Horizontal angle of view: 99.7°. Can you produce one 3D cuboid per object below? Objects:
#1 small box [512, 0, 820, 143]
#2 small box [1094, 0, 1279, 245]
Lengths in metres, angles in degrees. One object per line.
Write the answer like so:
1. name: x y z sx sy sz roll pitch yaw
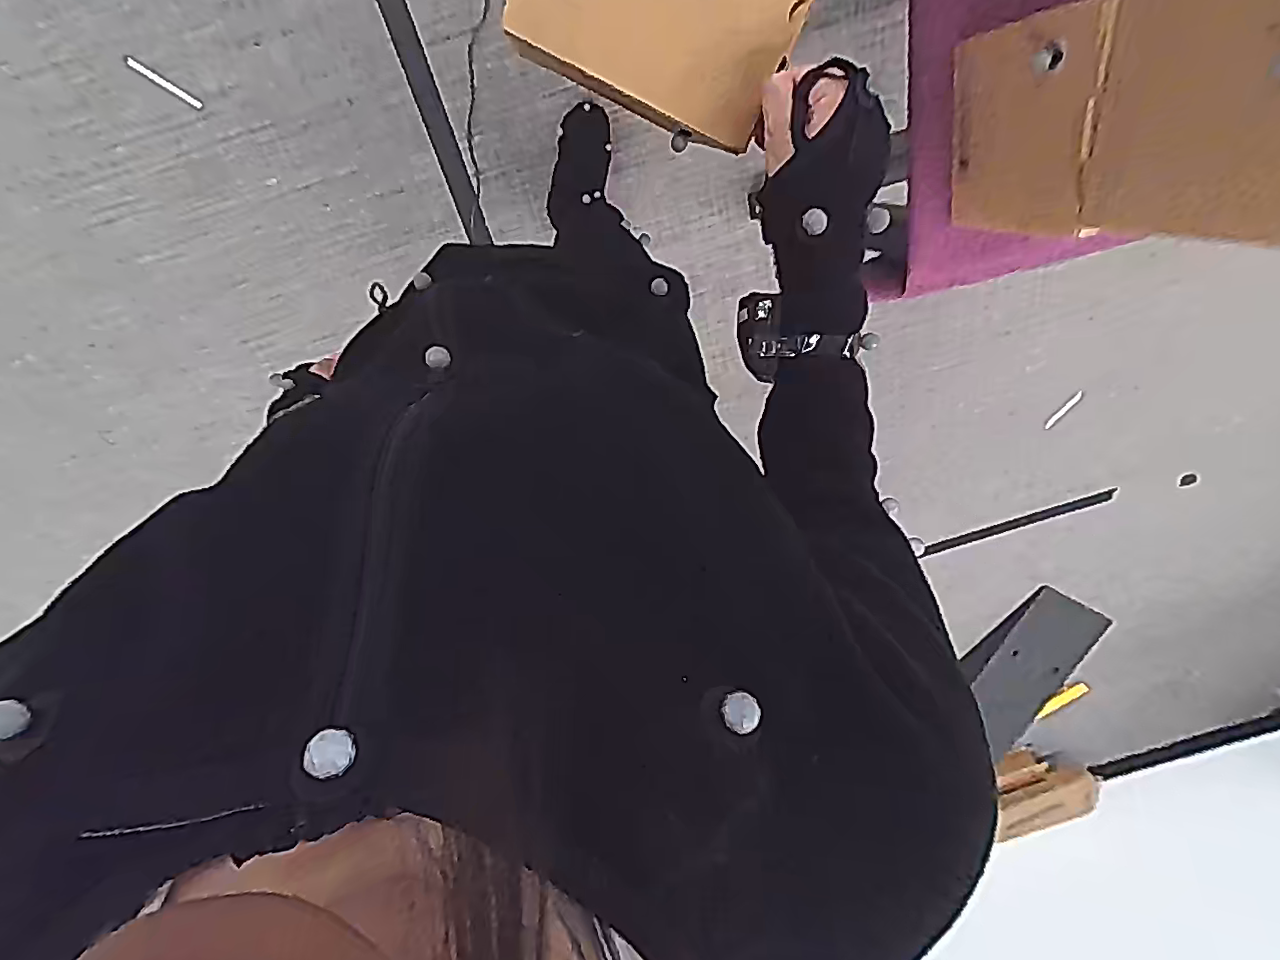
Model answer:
1. small box: 0.019 -0.361 0.373 0.179 0.176 0.168 13 121 -21
2. small box: 0.443 -0.257 0.340 0.168 0.176 0.179 -14 121 -2
